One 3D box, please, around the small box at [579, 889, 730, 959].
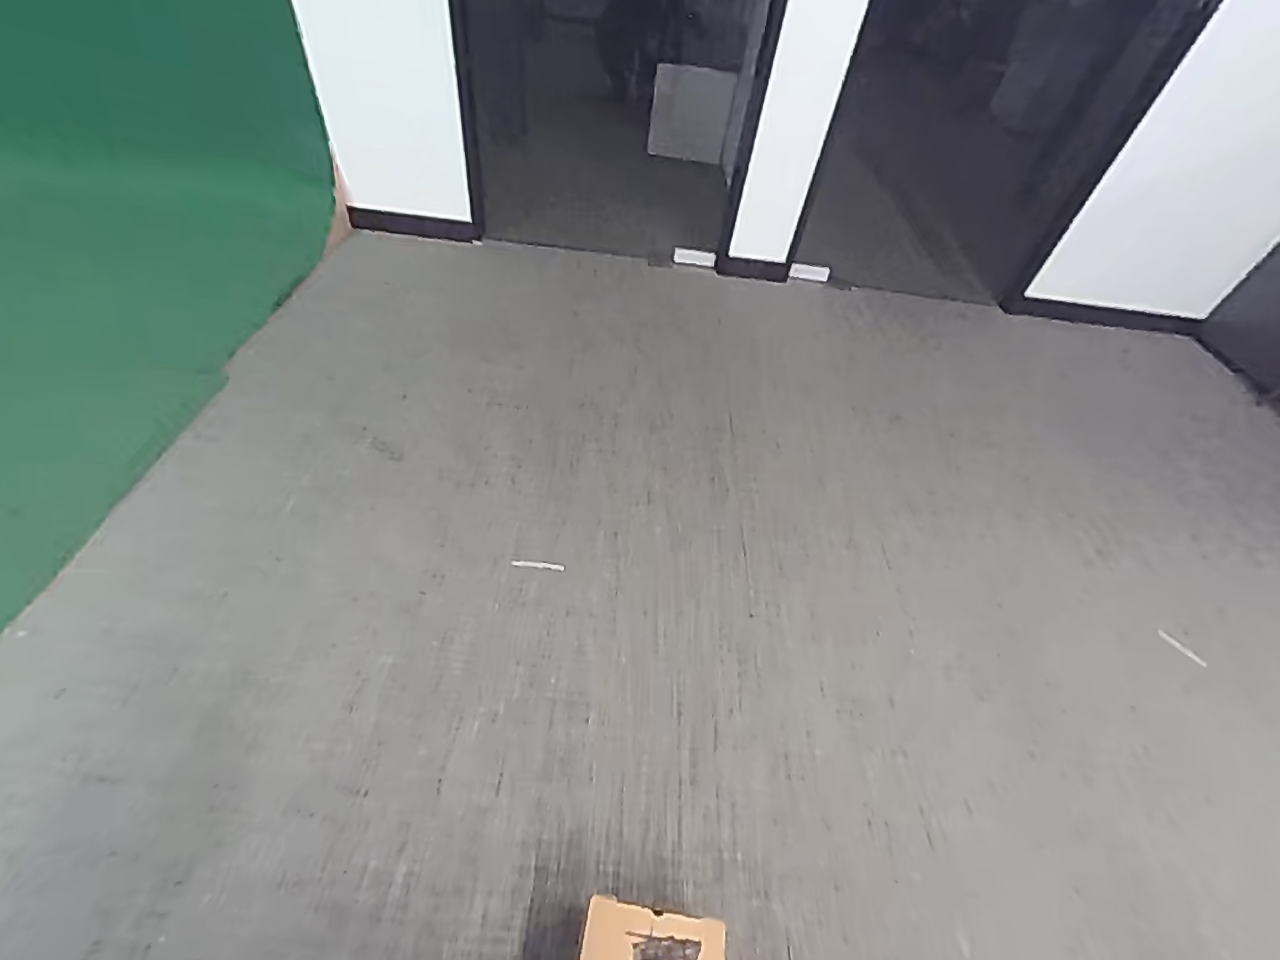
[{"bbox_3d":[0.005,0.622,0.649,0.168,0.176,0.179,11,48,1],"label":"small box"}]
